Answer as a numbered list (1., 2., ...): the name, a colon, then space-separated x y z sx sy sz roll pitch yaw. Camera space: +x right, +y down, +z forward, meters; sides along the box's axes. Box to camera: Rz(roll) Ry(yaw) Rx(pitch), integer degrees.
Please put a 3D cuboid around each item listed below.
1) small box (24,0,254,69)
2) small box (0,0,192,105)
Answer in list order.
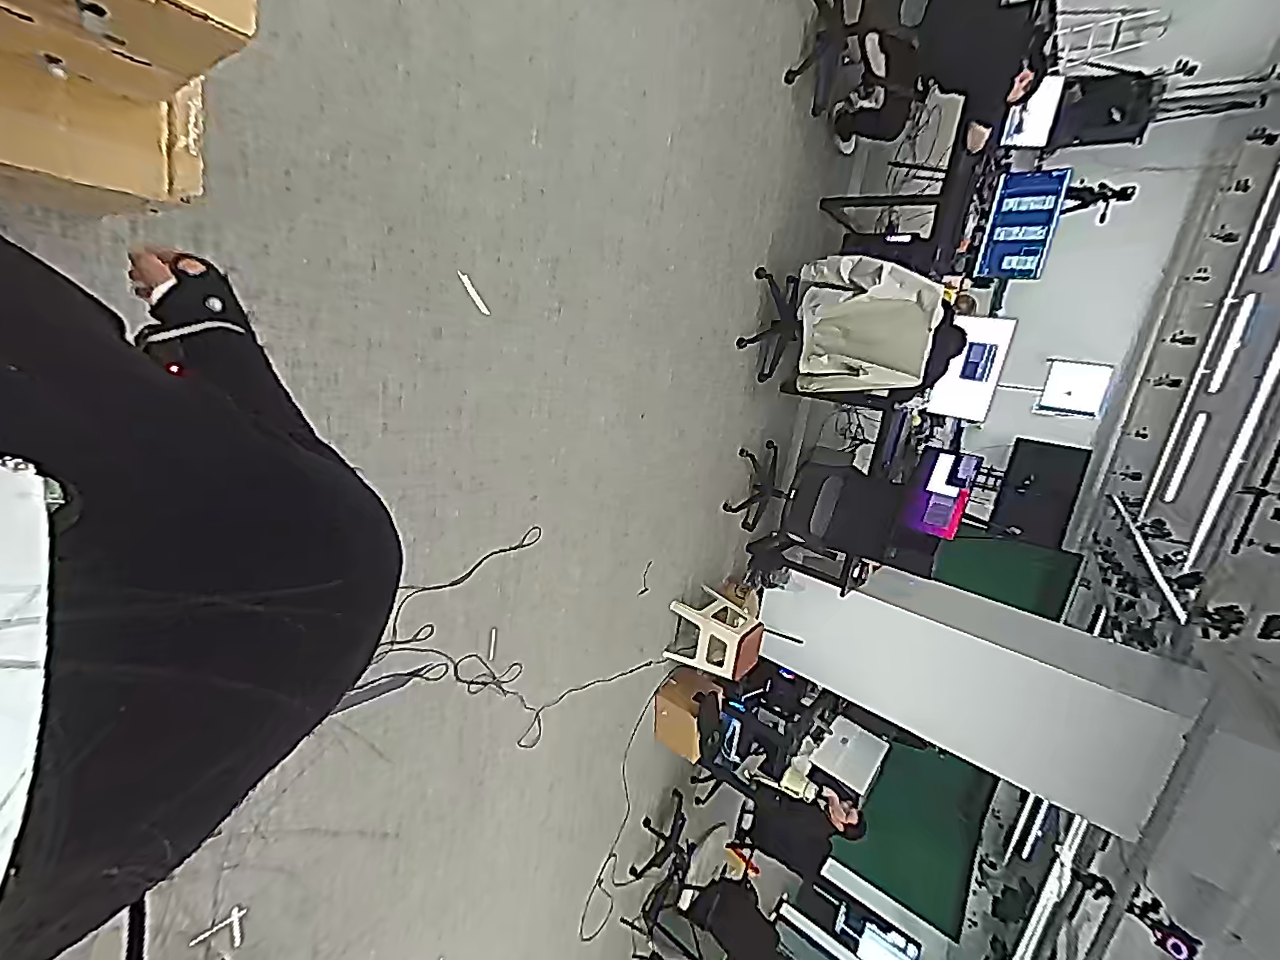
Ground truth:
1. small box: -0.404 -0.444 0.396 0.168 0.176 0.179 -6 111 -53
2. small box: -0.534 -0.482 0.492 0.168 0.176 0.179 -7 111 -50
